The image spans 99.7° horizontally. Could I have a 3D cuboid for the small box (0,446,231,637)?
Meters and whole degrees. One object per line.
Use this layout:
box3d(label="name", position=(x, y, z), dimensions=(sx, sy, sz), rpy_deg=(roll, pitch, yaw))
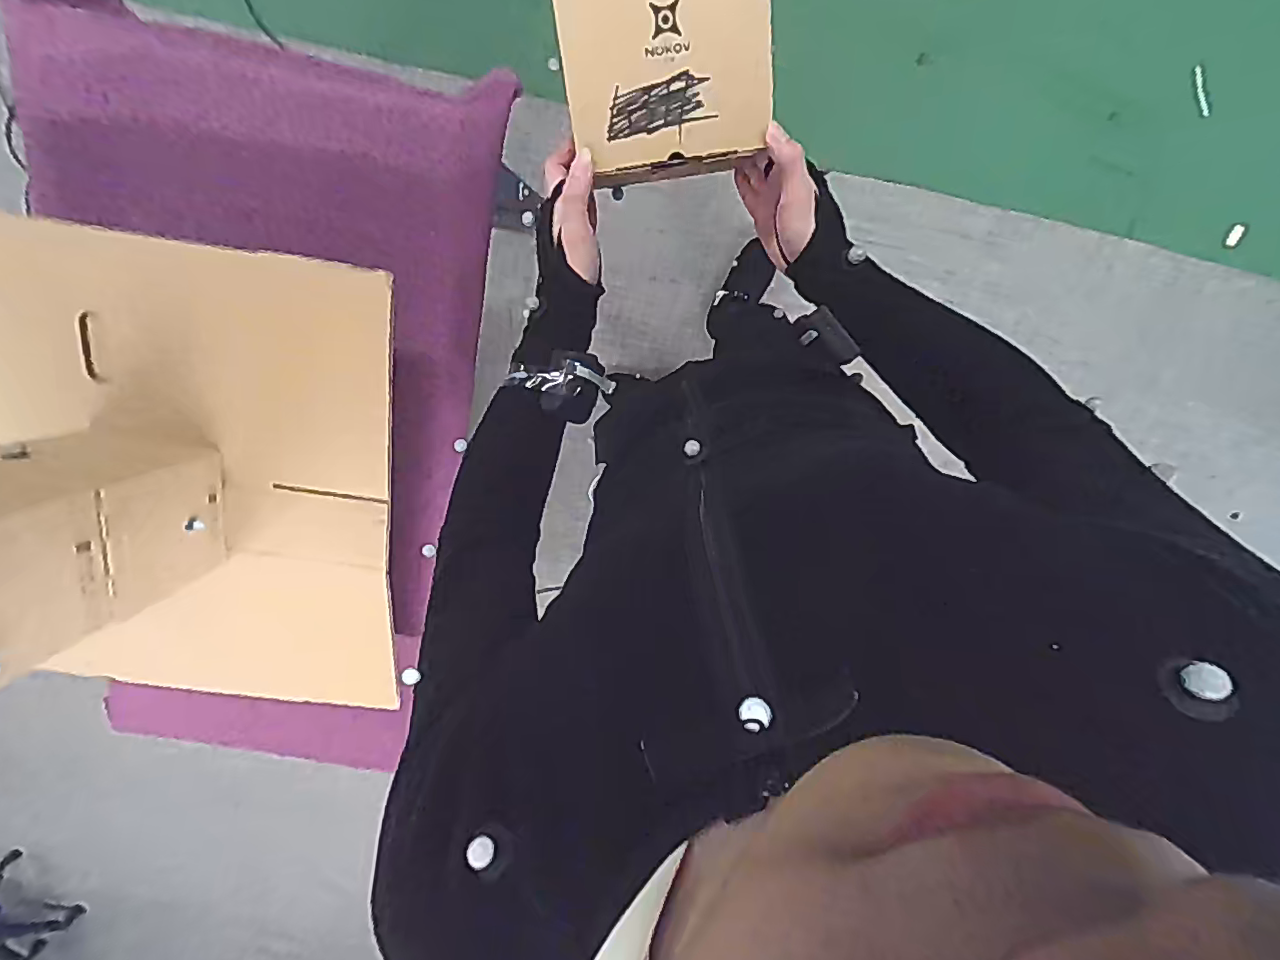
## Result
box3d(label="small box", position=(-0.641, 0.062, 0.650), dimensions=(0.179, 0.176, 0.168), rpy_deg=(10, 106, -3))

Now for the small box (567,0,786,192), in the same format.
box3d(label="small box", position=(0.028, -0.368, 0.488), dimensions=(0.168, 0.176, 0.179), rpy_deg=(-8, 114, 1))
